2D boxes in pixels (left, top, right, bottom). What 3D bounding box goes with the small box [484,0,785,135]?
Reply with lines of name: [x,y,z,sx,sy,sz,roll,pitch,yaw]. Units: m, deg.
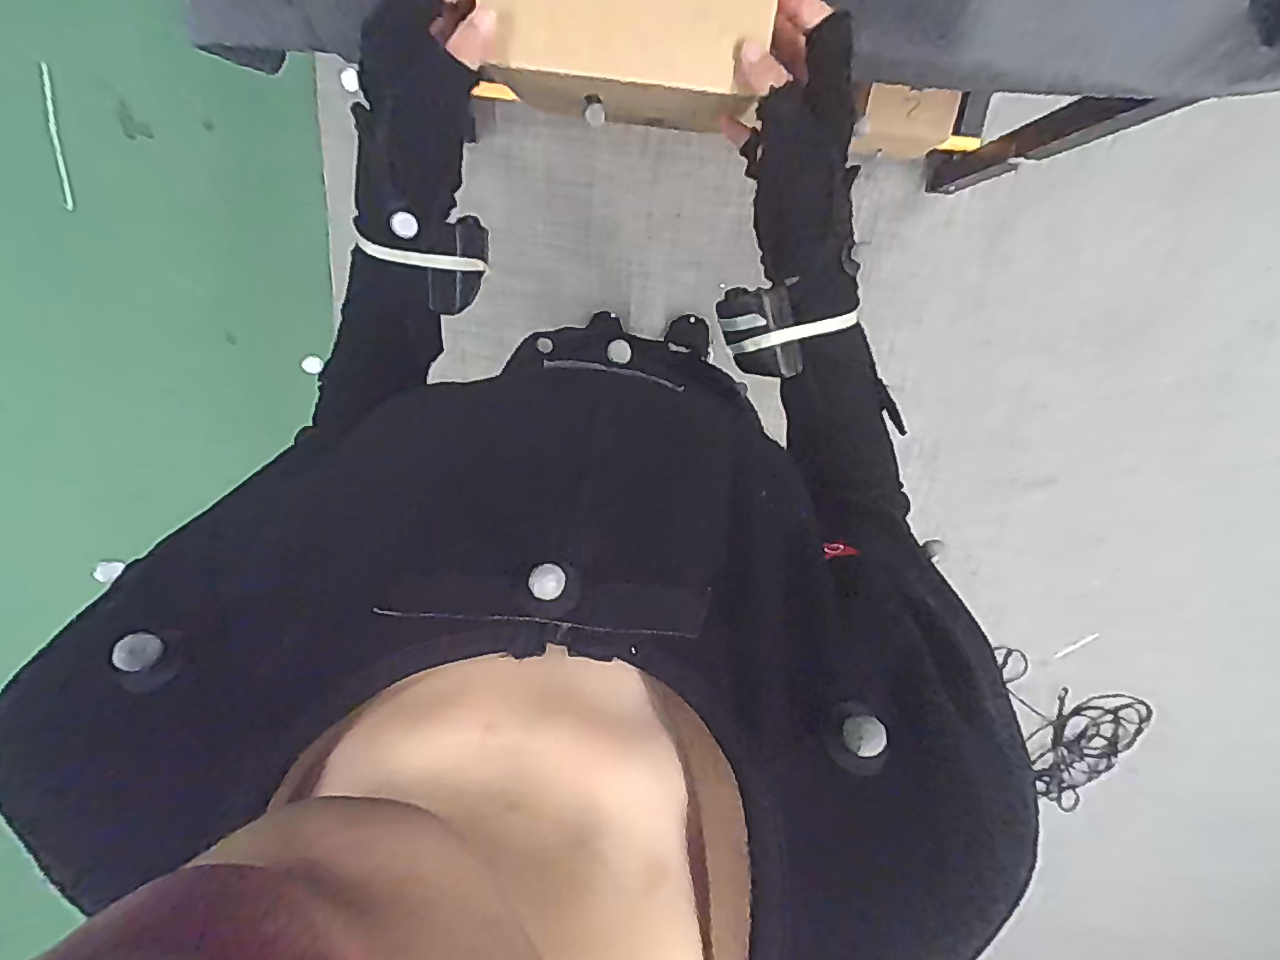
small box: [0.005,-0.337,0.344,0.168,0.176,0.179,5,114,-1]

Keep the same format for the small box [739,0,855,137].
small box: [0.289,-0.784,1.042,0.168,0.176,0.179,6,109,1]
